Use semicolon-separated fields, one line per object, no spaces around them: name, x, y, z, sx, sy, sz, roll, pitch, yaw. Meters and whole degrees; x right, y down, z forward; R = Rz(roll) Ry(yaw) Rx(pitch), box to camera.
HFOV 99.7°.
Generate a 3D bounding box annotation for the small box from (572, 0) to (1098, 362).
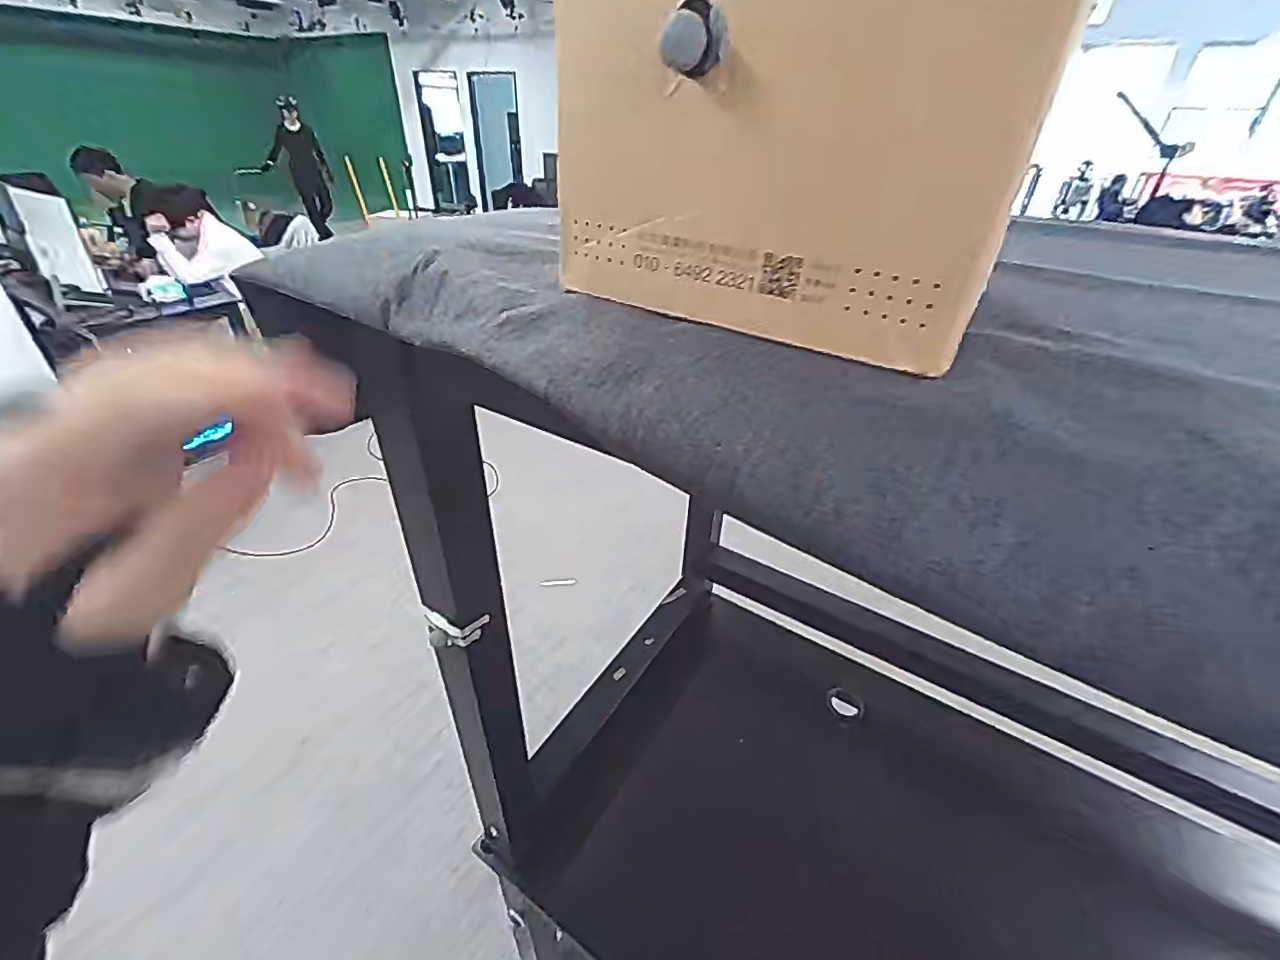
small box;0.084;-0.163;0.235;0.168;0.176;0.179;22;36;25
